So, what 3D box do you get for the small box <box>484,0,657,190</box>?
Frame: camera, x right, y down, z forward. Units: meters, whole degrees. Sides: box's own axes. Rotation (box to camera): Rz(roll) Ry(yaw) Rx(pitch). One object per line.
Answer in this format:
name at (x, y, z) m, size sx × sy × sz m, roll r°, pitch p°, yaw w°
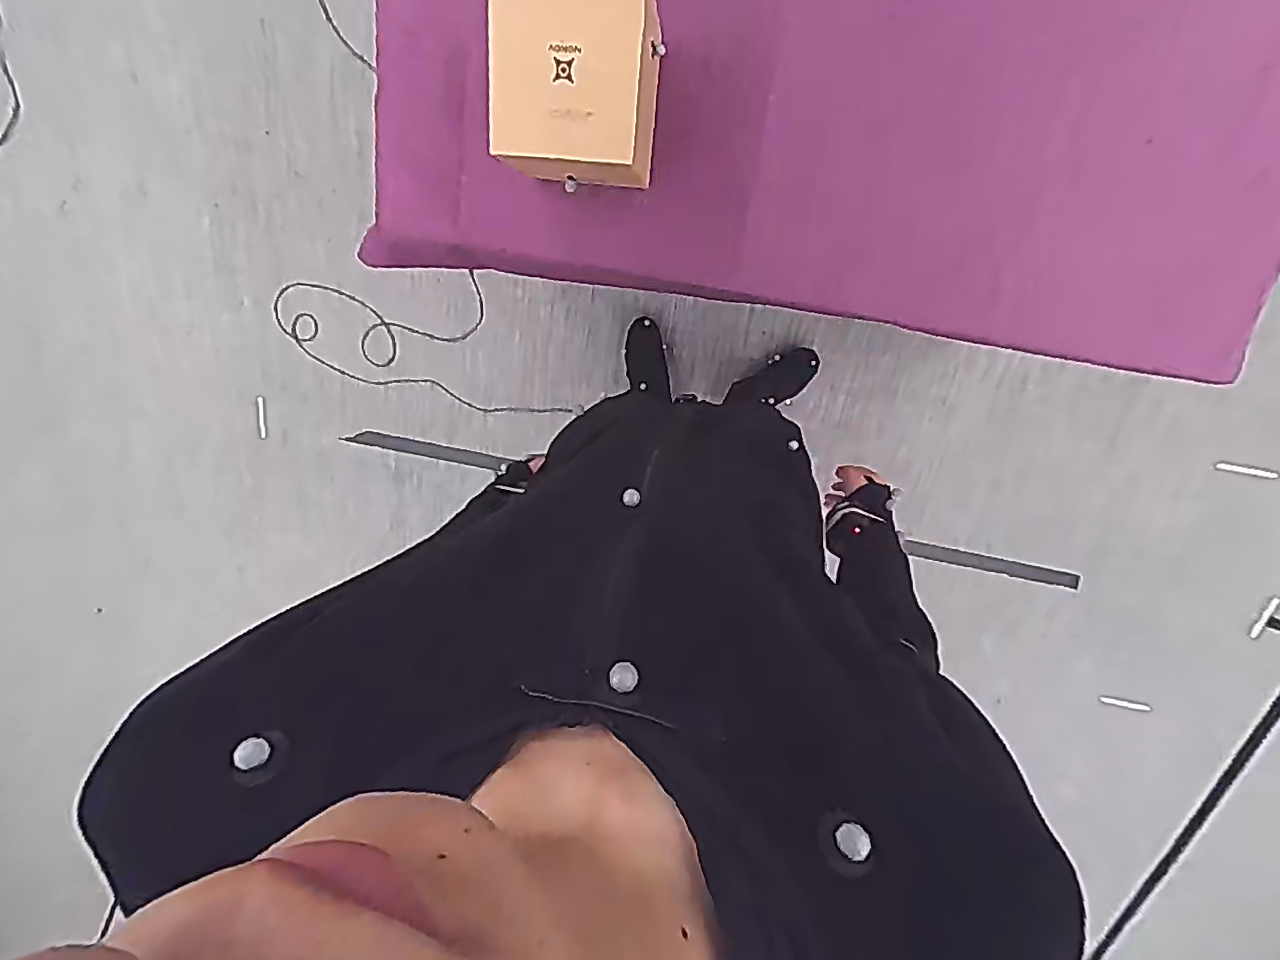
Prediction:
small box at (-0.074, -0.459, 0.636) m, size 0.168 × 0.176 × 0.179 m, roll 8°, pitch 111°, yaw 4°
